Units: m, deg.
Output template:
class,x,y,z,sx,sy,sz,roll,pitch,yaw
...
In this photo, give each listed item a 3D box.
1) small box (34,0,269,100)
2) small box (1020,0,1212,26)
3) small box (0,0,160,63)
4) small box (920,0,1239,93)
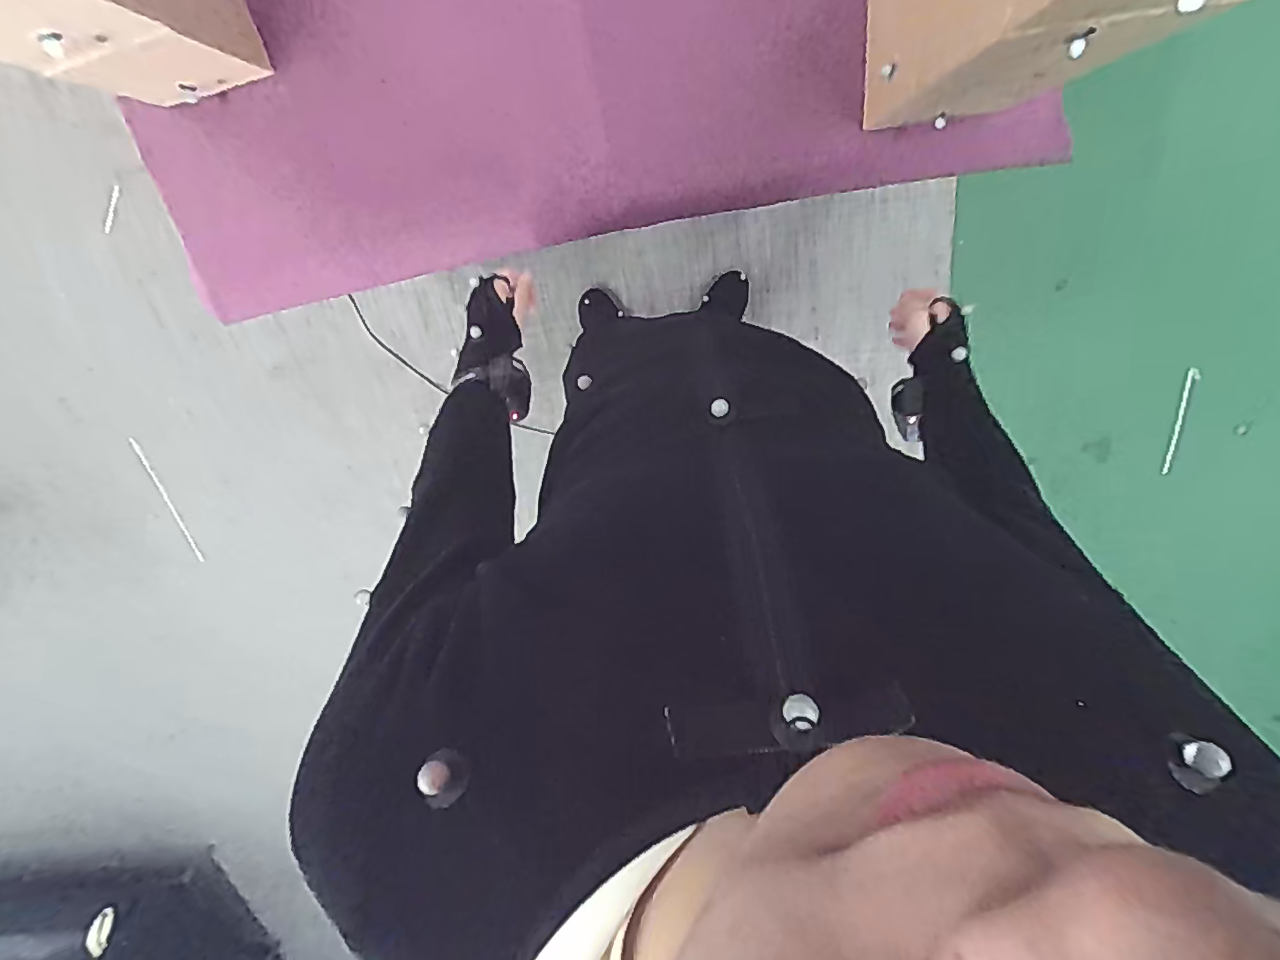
class,x,y,z,sx,sy,sz,roll,pitch,yaw
small box,-0.580,-0.567,0.612,0.168,0.176,0.179,-10,114,8
small box,0.329,-0.379,0.274,0.168,0.176,0.179,-4,113,7
small box,-0.589,-0.502,0.462,0.168,0.176,0.179,-10,113,9
small box,0.341,-0.440,0.426,0.168,0.176,0.179,-4,112,7
